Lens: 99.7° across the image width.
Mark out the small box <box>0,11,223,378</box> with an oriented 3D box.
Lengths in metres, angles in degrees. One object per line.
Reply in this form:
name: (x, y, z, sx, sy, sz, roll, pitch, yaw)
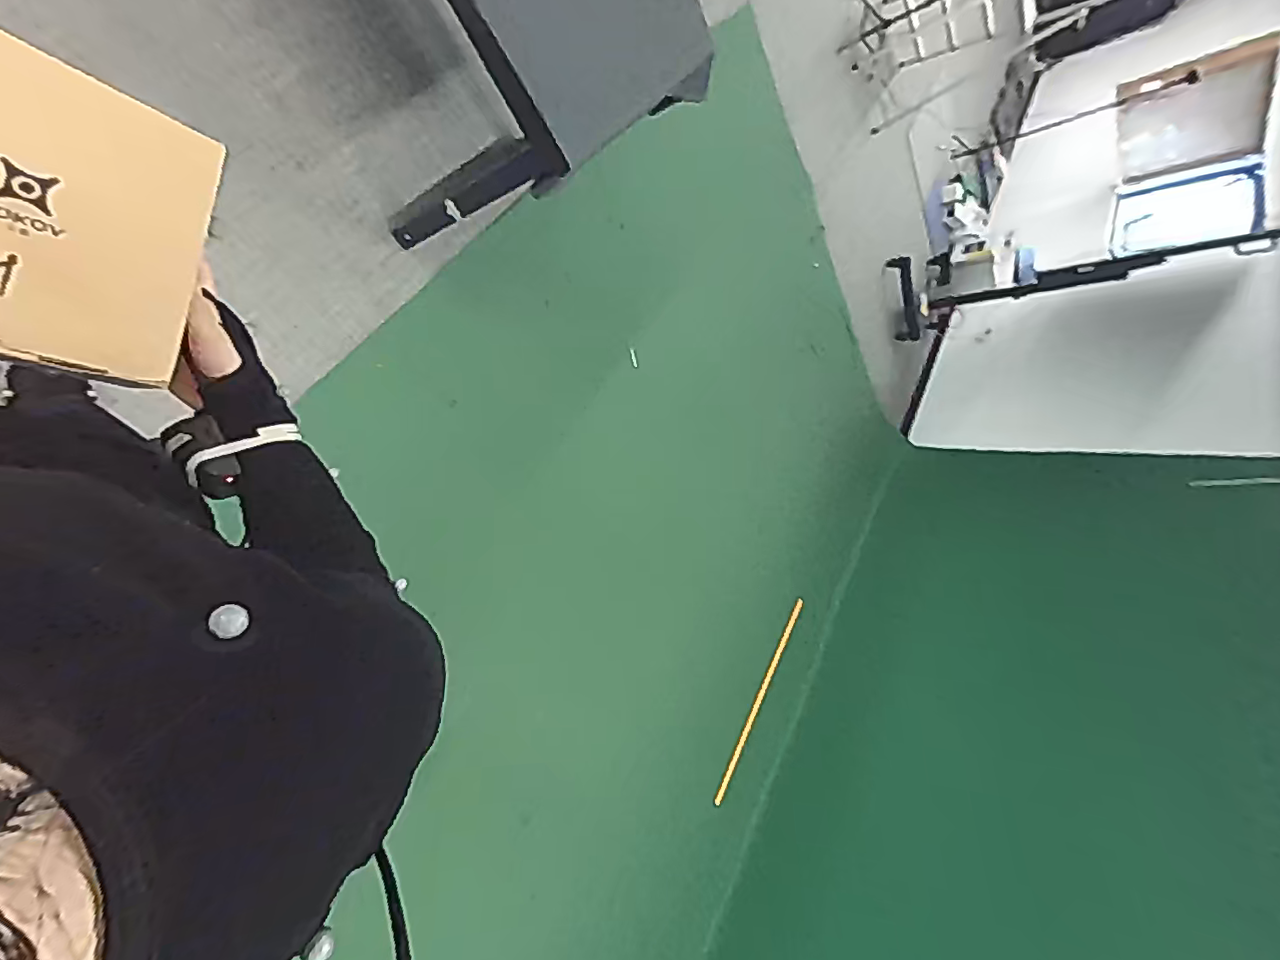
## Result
small box: (-0.412, -0.174, 0.351, 0.168, 0.176, 0.179, 14, 85, -52)
